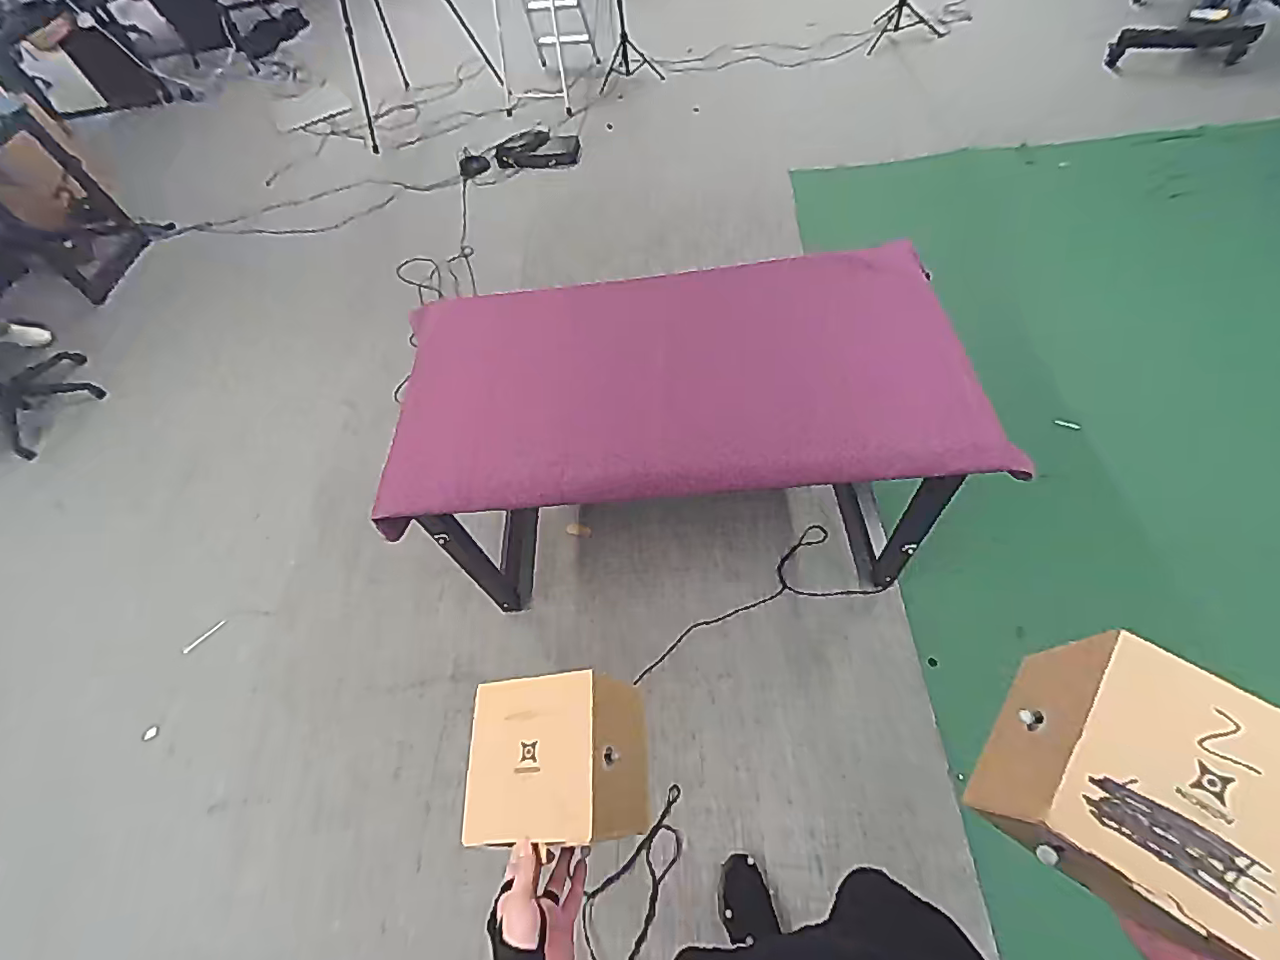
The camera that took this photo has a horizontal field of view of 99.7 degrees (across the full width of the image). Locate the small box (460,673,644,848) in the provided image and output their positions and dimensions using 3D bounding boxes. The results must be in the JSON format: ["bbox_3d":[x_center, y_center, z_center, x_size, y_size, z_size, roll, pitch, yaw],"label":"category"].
[{"bbox_3d":[-0.100,0.354,0.687,0.168,0.176,0.179,-12,58,18],"label":"small box"}]
